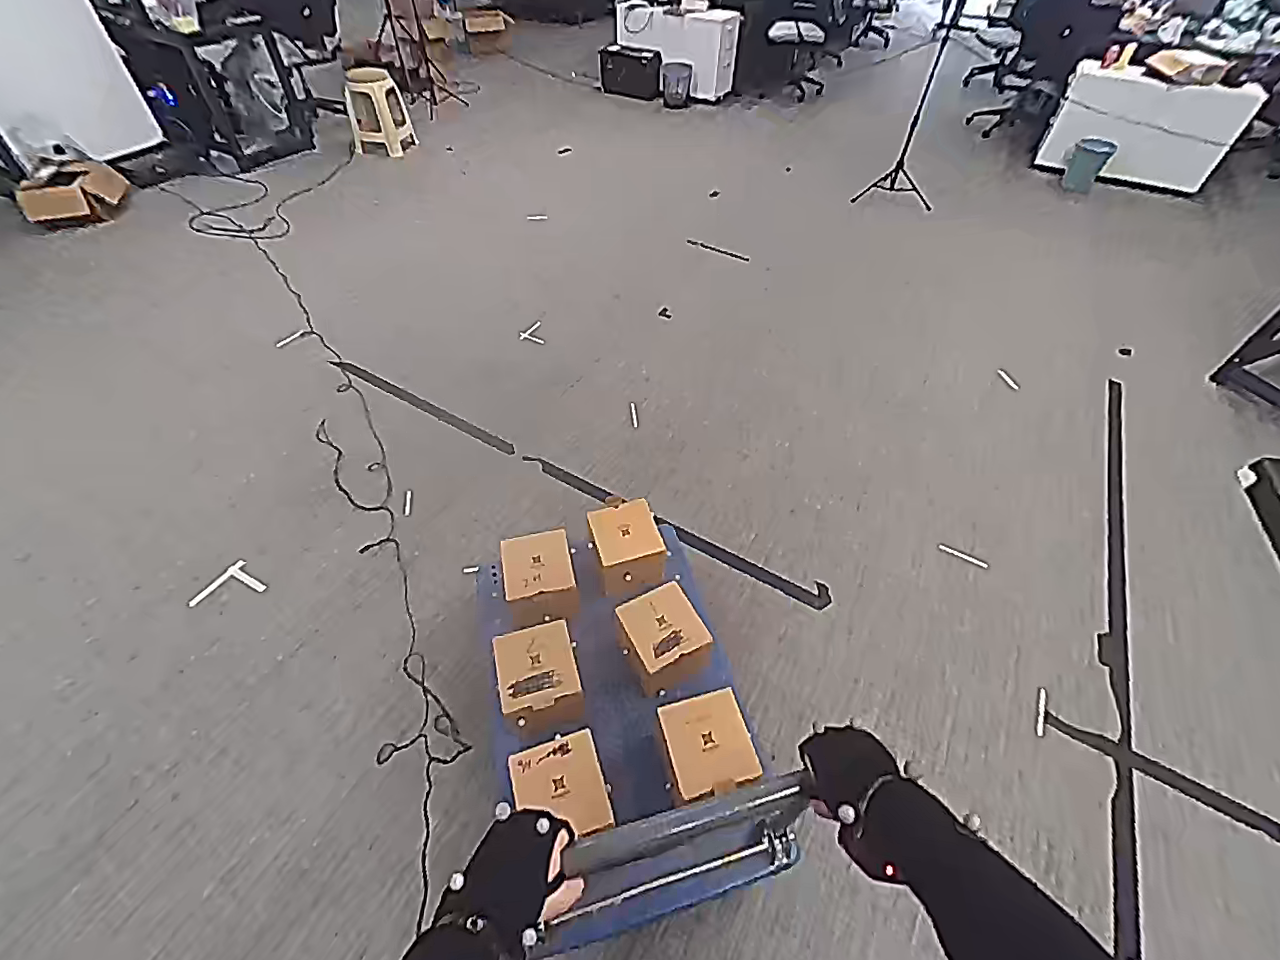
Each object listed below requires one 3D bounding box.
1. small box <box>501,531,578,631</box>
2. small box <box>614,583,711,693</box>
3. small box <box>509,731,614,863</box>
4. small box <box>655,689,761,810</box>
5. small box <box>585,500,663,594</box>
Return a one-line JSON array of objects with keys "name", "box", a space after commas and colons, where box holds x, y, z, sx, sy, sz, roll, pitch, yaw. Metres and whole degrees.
[{"name": "small box", "box": [-0.255, 0.259, 1.386, 0.168, 0.176, 0.179, -10, 51, -10]}, {"name": "small box", "box": [0.049, 0.384, 1.289, 0.168, 0.176, 0.179, -21, 52, -19]}, {"name": "small box", "box": [-0.151, 0.631, 1.070, 0.168, 0.176, 0.179, -14, 52, -14]}, {"name": "small box", "box": [0.133, 0.570, 1.133, 0.168, 0.176, 0.179, -11, 50, -11]}, {"name": "small box", "box": [-0.042, 0.188, 1.456, 0.168, 0.176, 0.179, -14, 51, -13]}]
